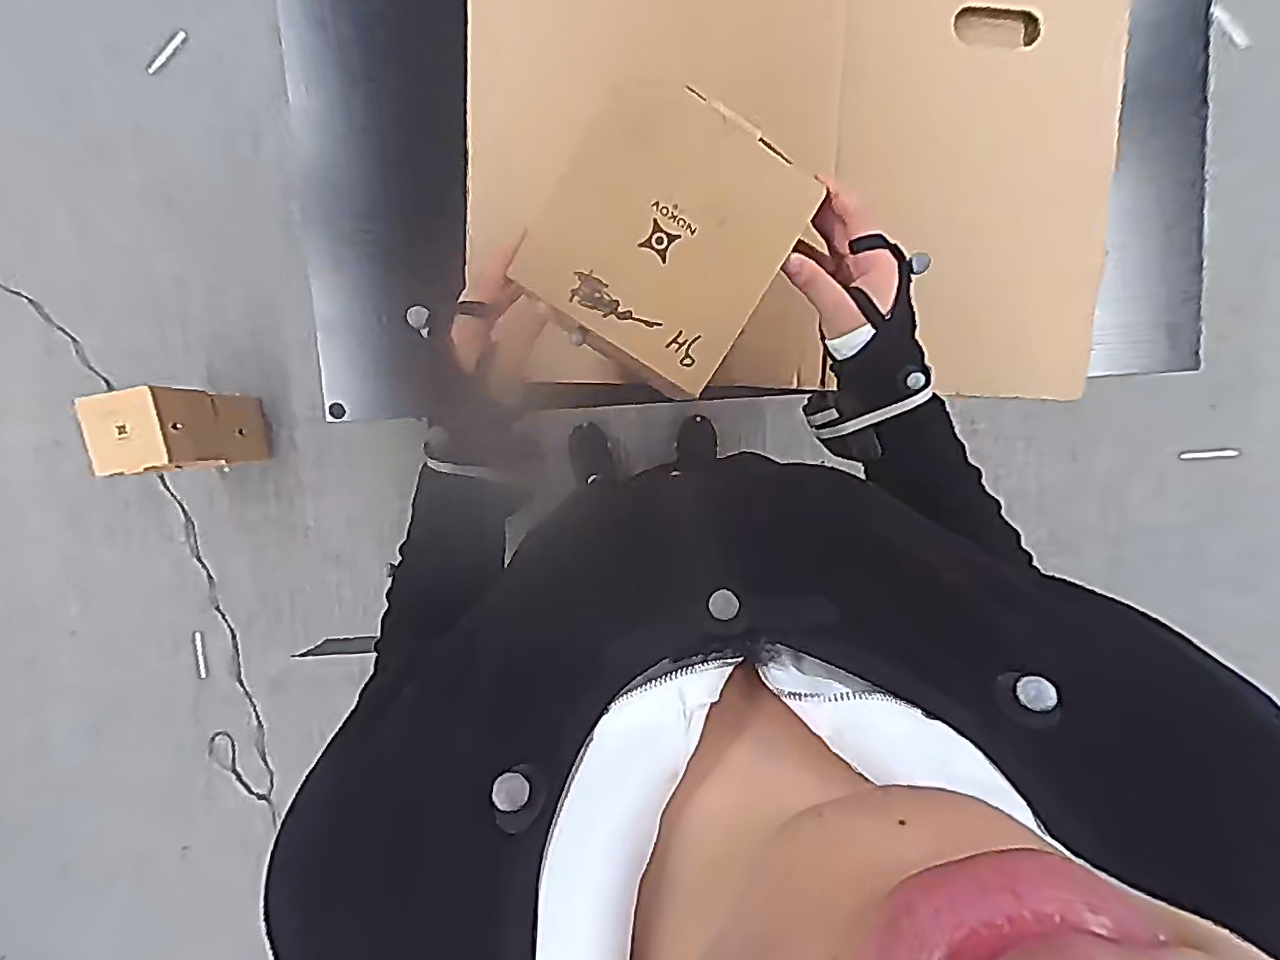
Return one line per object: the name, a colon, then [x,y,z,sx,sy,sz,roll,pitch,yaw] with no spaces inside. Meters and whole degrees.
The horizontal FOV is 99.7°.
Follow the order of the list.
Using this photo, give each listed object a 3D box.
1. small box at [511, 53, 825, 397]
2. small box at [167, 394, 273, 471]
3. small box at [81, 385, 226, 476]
small box: [0.017,-0.188,0.461,0.168,0.176,0.179,32,94,-4]
small box: [-1.102,-0.123,1.407,0.168,0.176,0.179,-7,96,1]
small box: [-1.104,-0.113,1.245,0.168,0.176,0.179,-11,94,0]
